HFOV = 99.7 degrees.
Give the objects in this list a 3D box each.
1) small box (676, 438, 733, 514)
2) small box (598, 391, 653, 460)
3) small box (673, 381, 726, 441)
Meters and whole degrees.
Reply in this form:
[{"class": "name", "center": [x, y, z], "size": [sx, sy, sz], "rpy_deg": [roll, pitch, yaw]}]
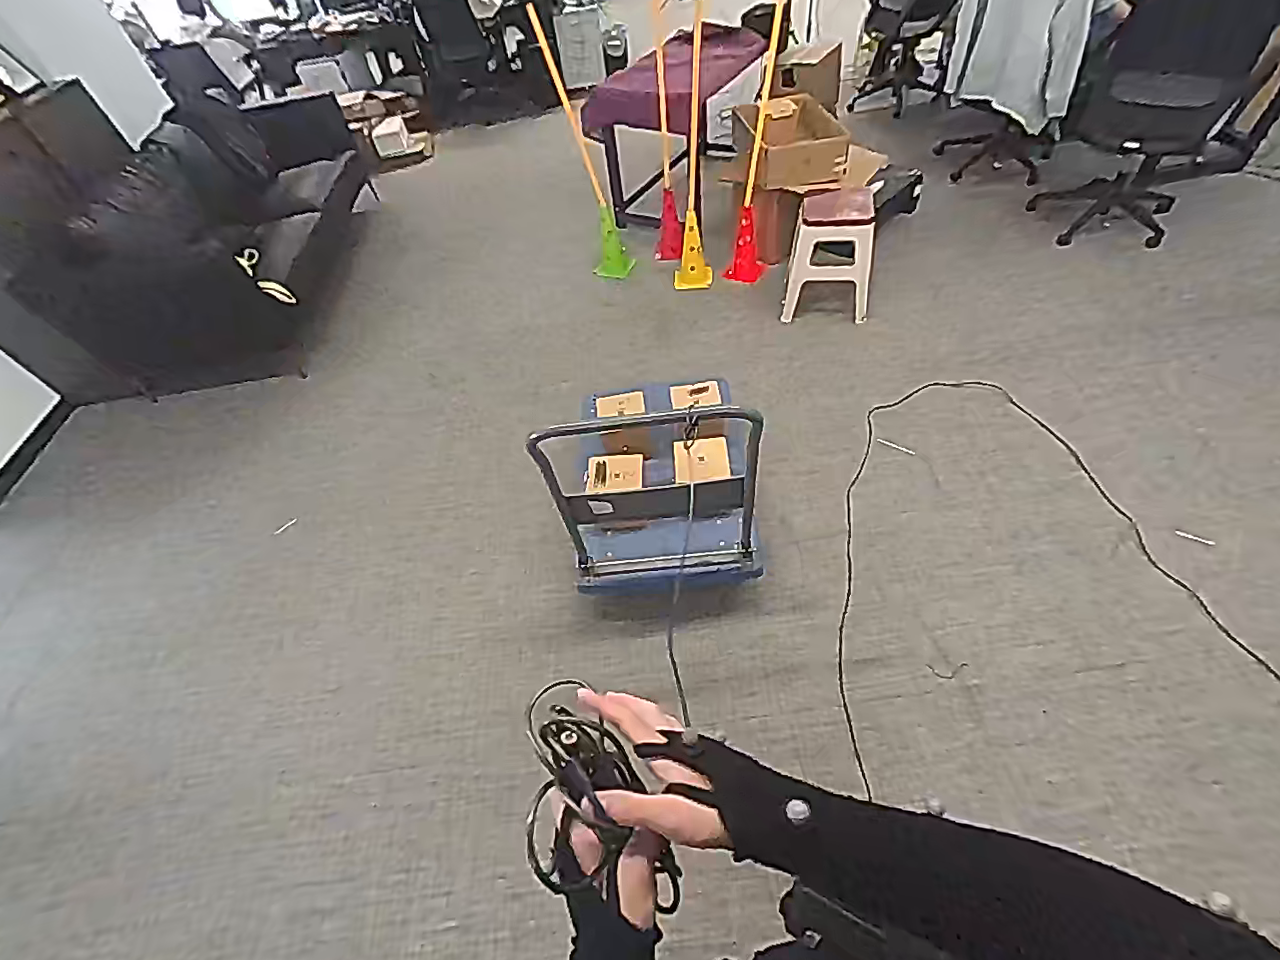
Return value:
[{"class": "small box", "center": [0.202, -0.011, 1.717], "size": [0.168, 0.176, 0.179], "rpy_deg": [-4, 53, 6]}, {"class": "small box", "center": [-0.049, -0.184, 1.894], "size": [0.168, 0.176, 0.179], "rpy_deg": [-8, 51, 2]}, {"class": "small box", "center": [0.206, -0.216, 1.877], "size": [0.168, 0.176, 0.179], "rpy_deg": [-7, 51, 4]}]
